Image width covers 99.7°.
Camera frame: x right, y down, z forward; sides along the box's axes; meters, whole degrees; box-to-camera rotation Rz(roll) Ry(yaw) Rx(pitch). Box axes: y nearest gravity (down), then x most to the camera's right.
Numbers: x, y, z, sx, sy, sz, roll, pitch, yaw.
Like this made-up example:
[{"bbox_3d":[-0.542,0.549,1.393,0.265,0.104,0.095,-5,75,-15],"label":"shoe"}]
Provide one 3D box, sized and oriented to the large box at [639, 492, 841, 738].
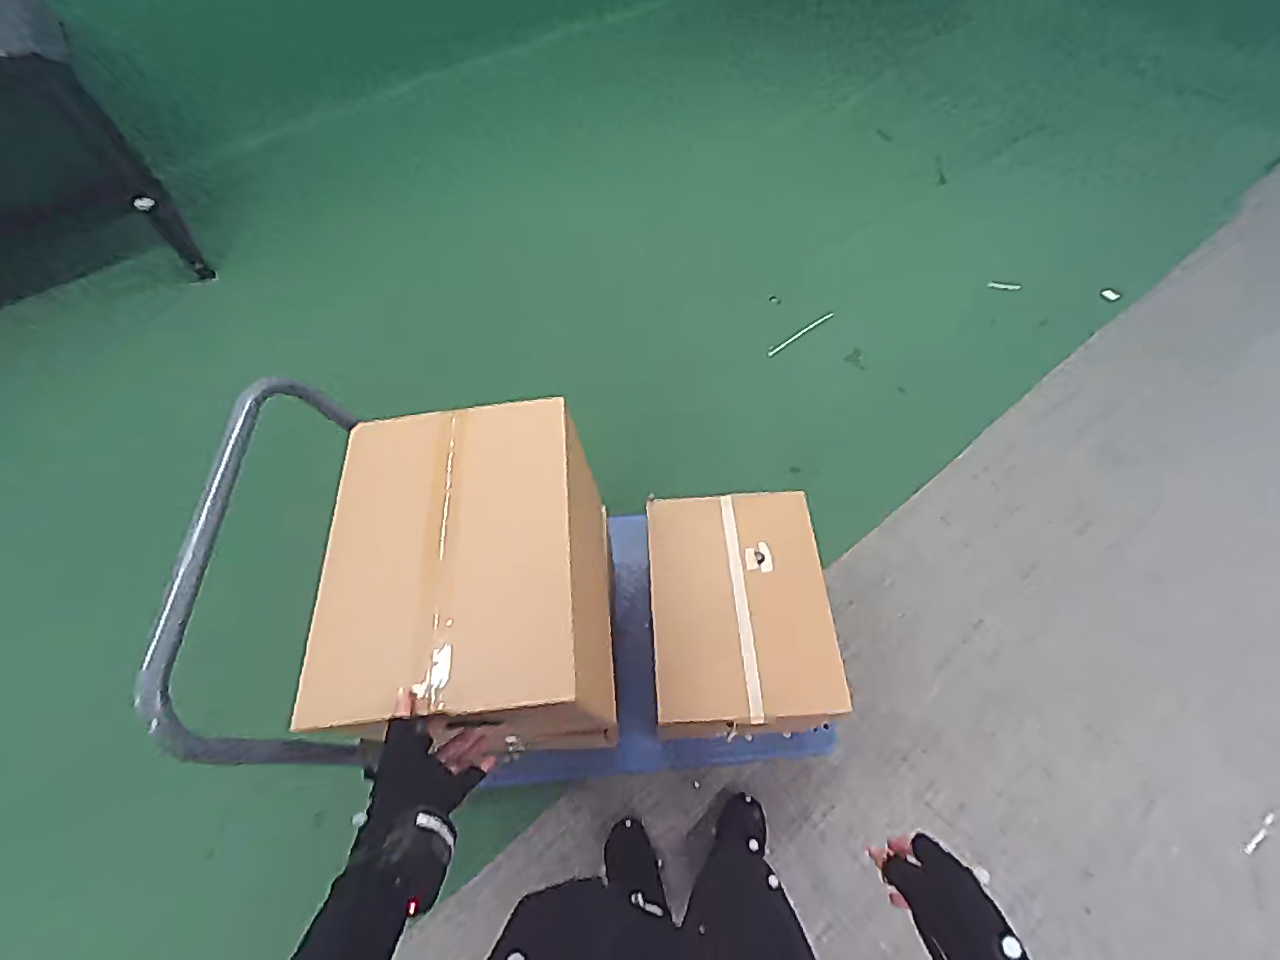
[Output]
[{"bbox_3d":[0.170,0.281,1.094,0.320,0.320,0.408,-3,60,1],"label":"large box"}]
